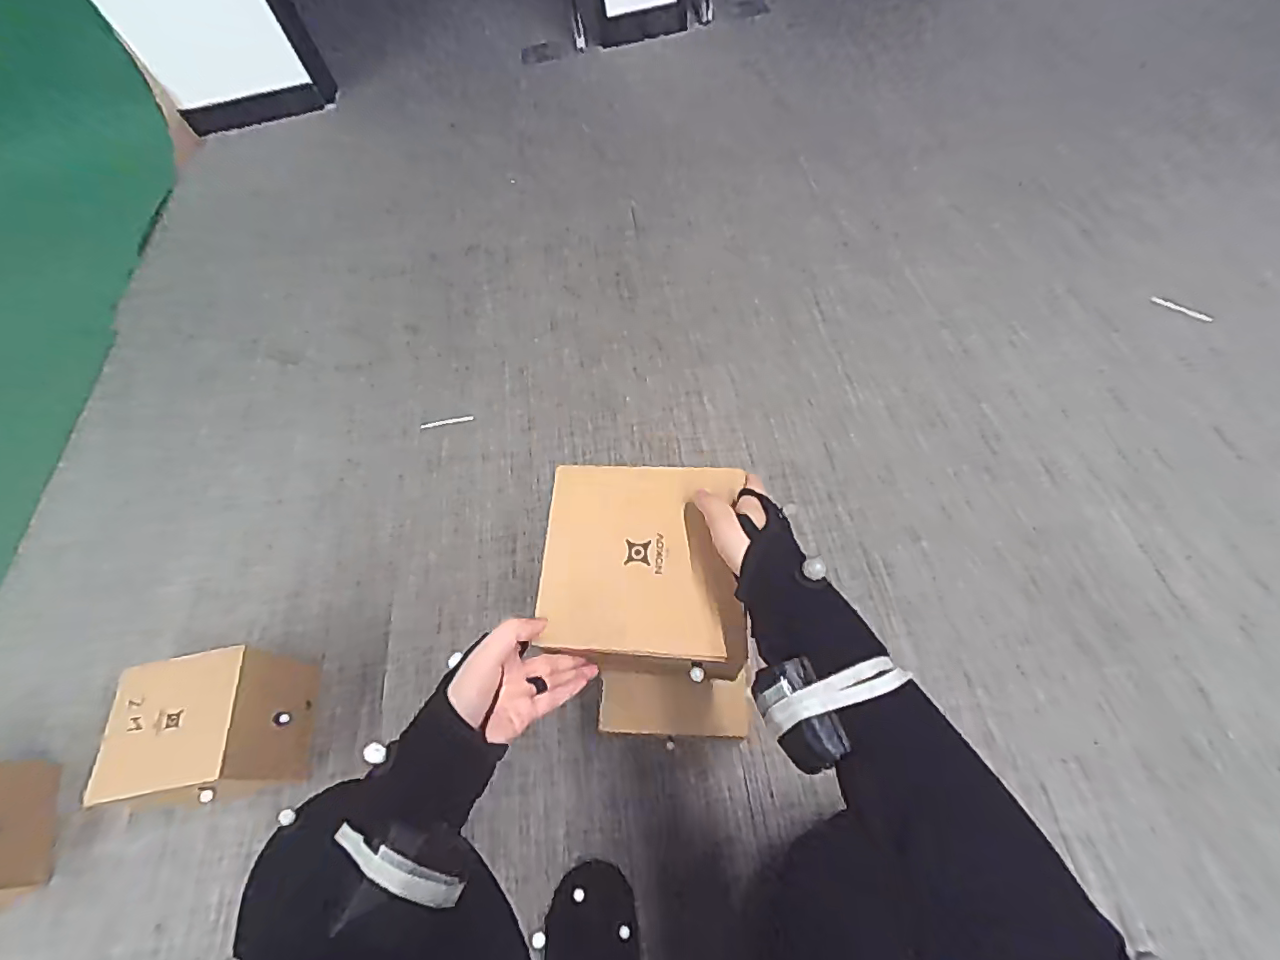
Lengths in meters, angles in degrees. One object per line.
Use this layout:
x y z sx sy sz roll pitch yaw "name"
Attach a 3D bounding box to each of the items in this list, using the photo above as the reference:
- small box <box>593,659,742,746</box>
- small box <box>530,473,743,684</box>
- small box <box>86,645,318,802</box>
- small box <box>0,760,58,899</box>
0.045 0.260 0.728 0.179 0.176 0.168 -1 62 7 "small box"
0.009 0.105 0.537 0.179 0.176 0.168 2 64 6 "small box"
-0.596 0.348 0.768 0.179 0.176 0.168 -11 59 1 "small box"
-0.963 0.501 0.736 0.168 0.176 0.179 -26 61 -6 "small box"
